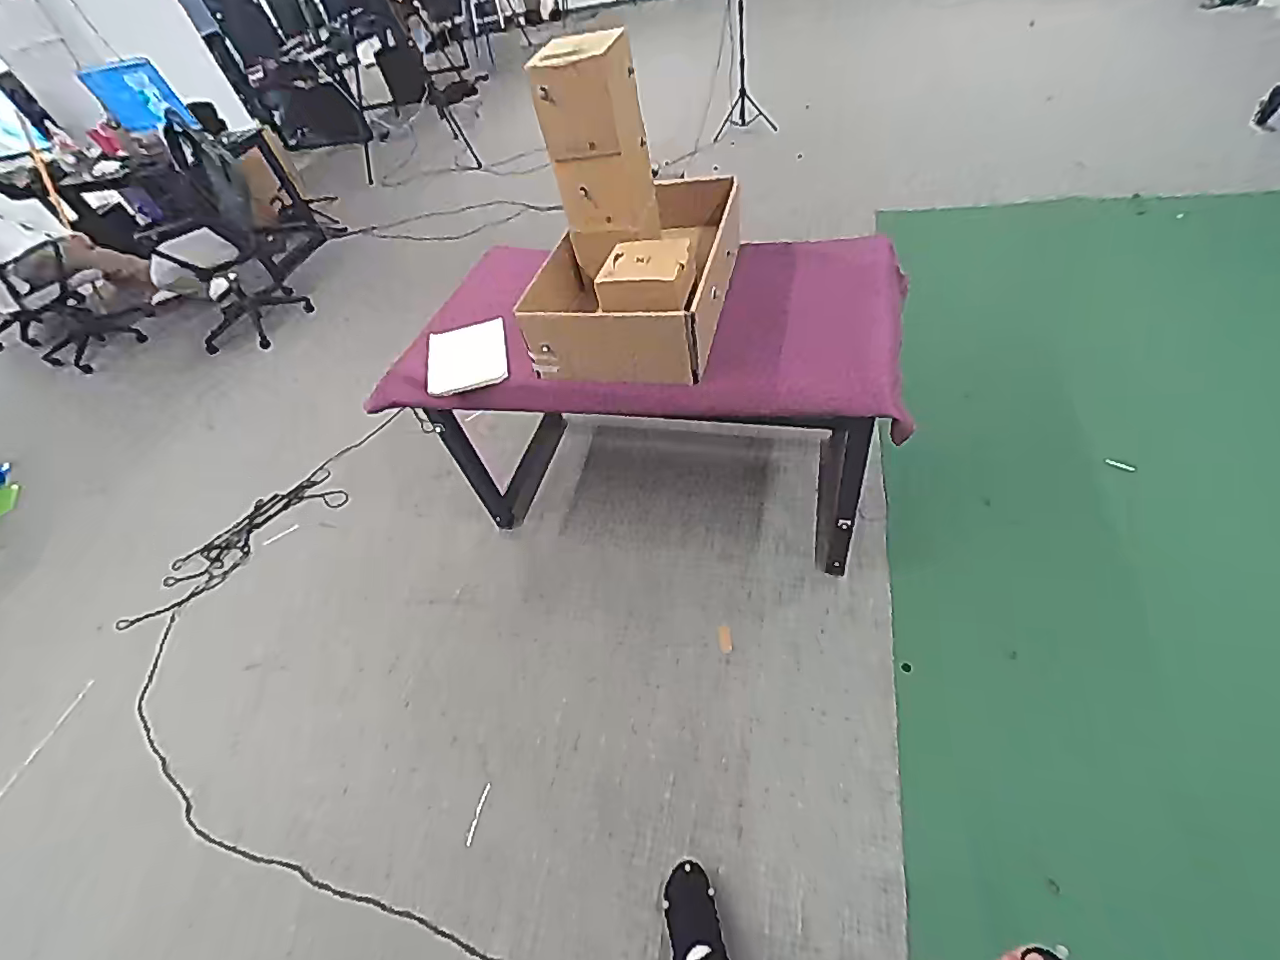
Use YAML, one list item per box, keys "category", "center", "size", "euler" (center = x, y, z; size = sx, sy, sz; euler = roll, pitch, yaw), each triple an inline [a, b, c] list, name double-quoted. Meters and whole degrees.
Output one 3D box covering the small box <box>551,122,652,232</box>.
- category: "small box"
  center: [-0.078, -0.694, 1.253]
  size: [0.168, 0.176, 0.179]
  euler: [7, 53, 19]
